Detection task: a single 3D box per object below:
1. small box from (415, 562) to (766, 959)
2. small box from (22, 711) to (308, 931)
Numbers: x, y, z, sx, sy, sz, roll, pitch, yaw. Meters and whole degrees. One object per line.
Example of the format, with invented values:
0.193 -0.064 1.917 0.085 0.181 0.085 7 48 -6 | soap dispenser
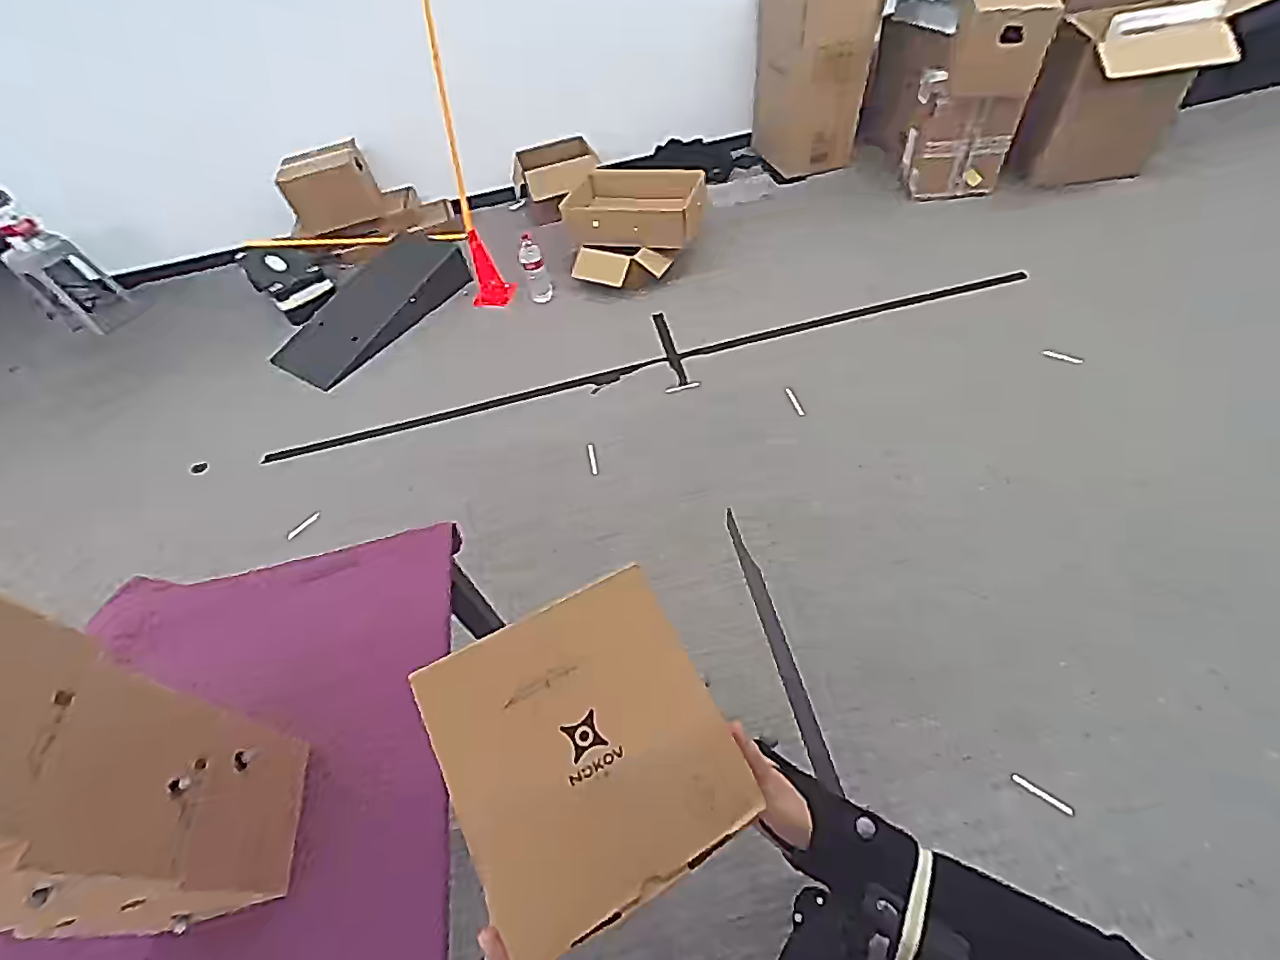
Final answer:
-0.039 0.192 0.407 0.168 0.176 0.179 -25 69 -17 | small box
-0.532 0.406 0.644 0.168 0.176 0.179 -15 51 -2 | small box
